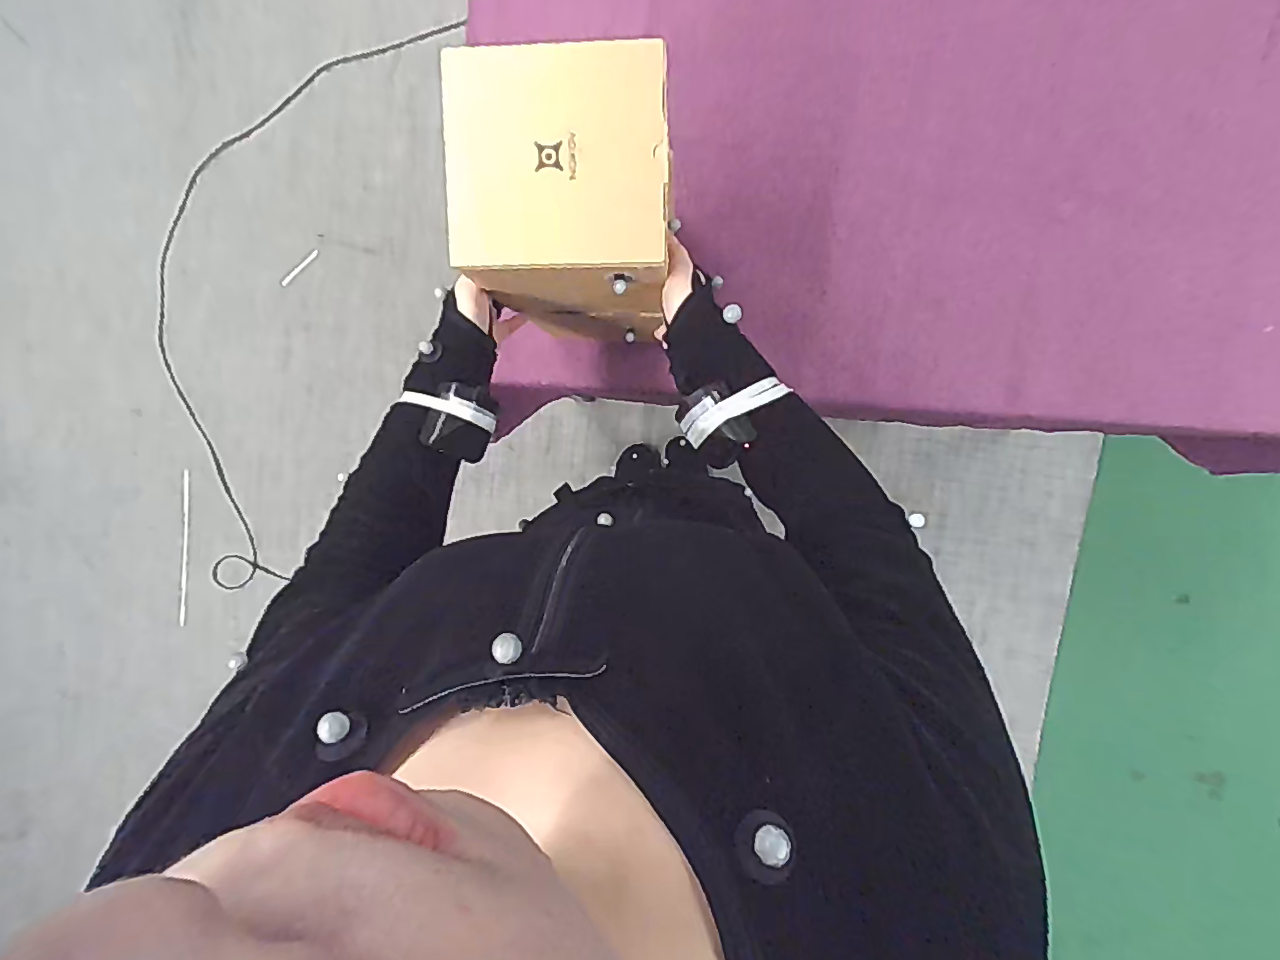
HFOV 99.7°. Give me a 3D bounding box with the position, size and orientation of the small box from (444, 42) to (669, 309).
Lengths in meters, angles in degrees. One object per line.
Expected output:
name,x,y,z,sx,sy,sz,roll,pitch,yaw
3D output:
small box,-0.062,-0.258,0.501,0.179,0.176,0.168,0,96,2

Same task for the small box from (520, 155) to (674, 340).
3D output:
small box,-0.045,-0.276,0.672,0.168,0.176,0.179,3,94,3
